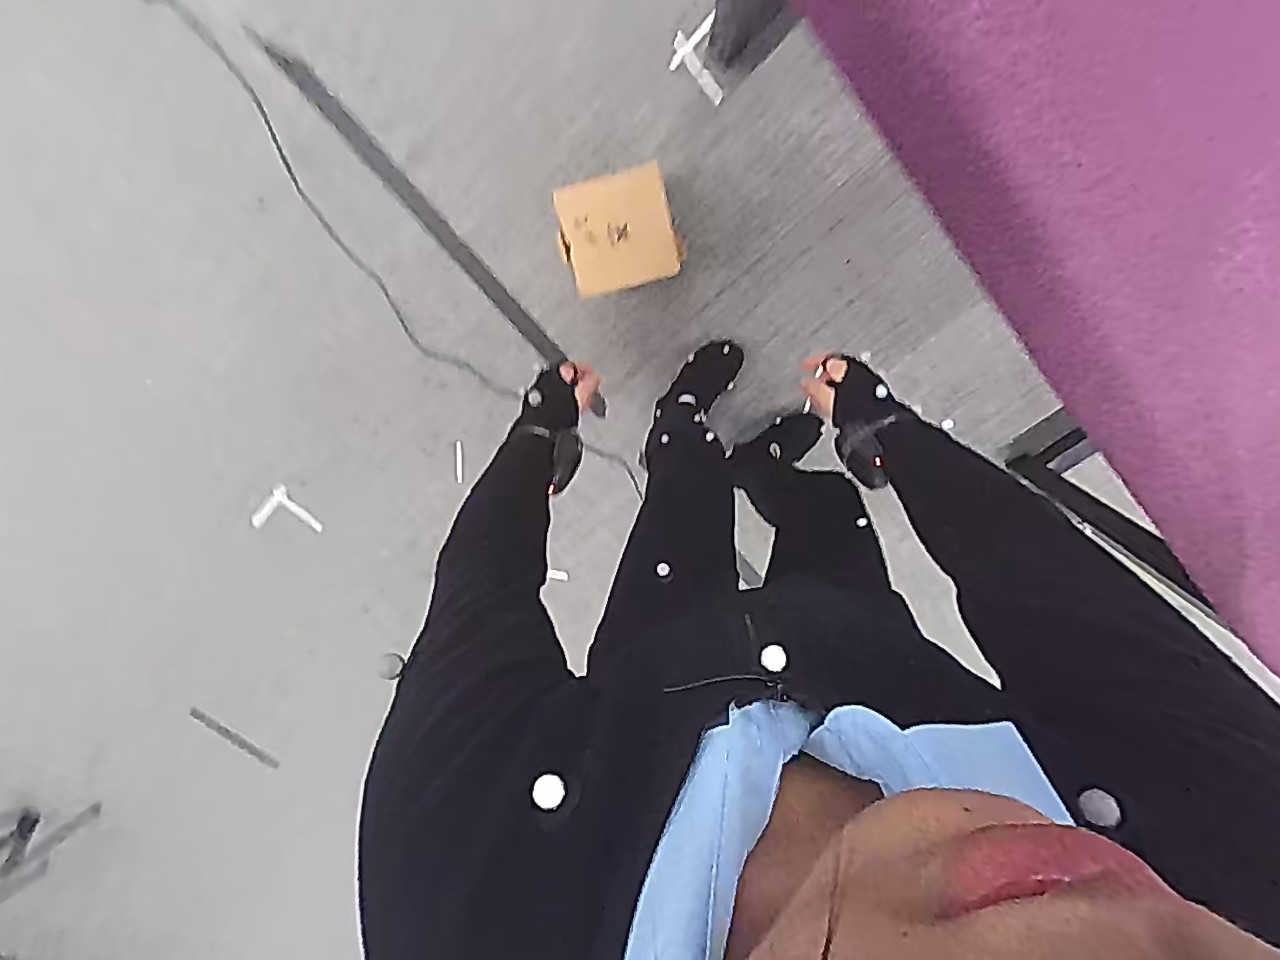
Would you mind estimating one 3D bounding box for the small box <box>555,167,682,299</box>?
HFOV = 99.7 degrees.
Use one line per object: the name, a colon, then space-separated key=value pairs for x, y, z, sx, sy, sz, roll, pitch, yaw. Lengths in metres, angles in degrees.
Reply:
small box: x=-0.029 y=-0.428 z=0.944 sx=0.179 sy=0.176 sz=0.168 roll=-11 pitch=113 yaw=10
